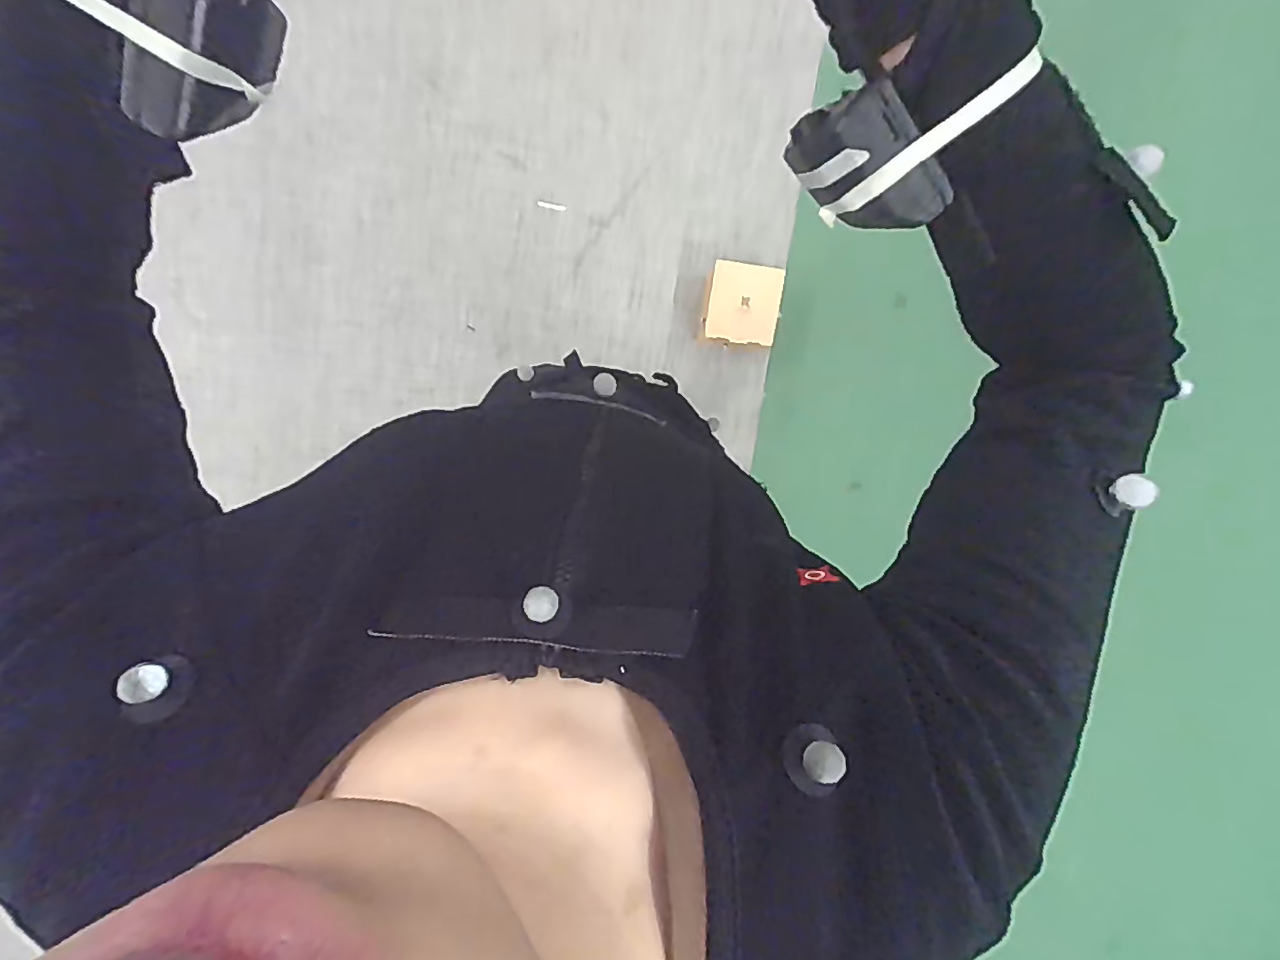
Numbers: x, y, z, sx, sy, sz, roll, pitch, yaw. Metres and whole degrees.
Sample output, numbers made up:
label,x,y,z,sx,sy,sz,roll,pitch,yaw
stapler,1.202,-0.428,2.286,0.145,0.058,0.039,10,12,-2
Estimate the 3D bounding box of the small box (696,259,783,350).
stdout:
label,x,y,z,sx,sy,sz,roll,pitch,yaw
small box,0.235,-0.422,1.328,0.168,0.176,0.179,8,100,-2
